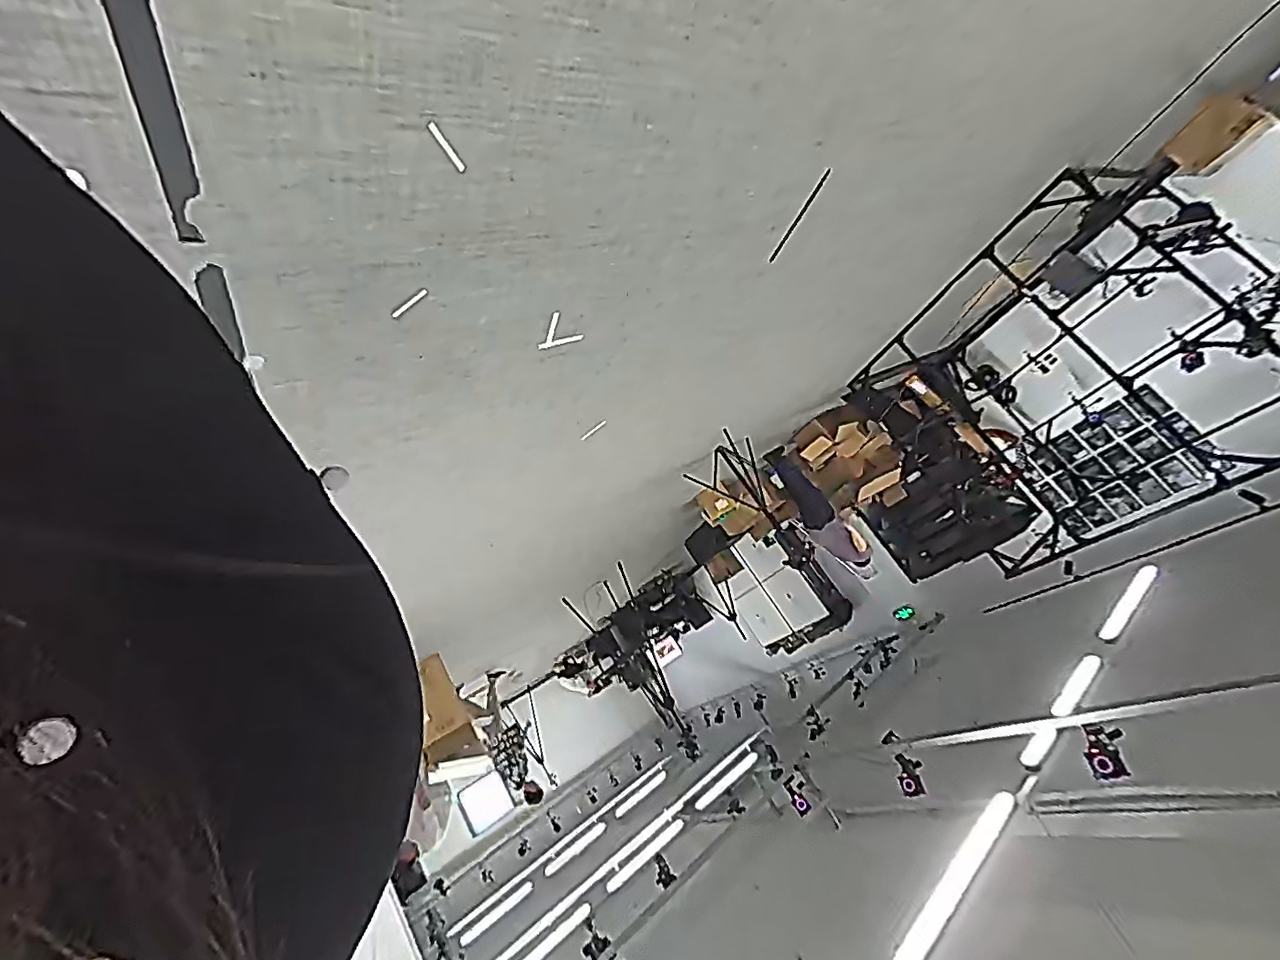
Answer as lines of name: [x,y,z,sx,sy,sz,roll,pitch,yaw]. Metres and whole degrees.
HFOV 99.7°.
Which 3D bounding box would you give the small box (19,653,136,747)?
small box: [-1.566,0.609,1.510,0.179,0.176,0.168,-20,158,-35]
